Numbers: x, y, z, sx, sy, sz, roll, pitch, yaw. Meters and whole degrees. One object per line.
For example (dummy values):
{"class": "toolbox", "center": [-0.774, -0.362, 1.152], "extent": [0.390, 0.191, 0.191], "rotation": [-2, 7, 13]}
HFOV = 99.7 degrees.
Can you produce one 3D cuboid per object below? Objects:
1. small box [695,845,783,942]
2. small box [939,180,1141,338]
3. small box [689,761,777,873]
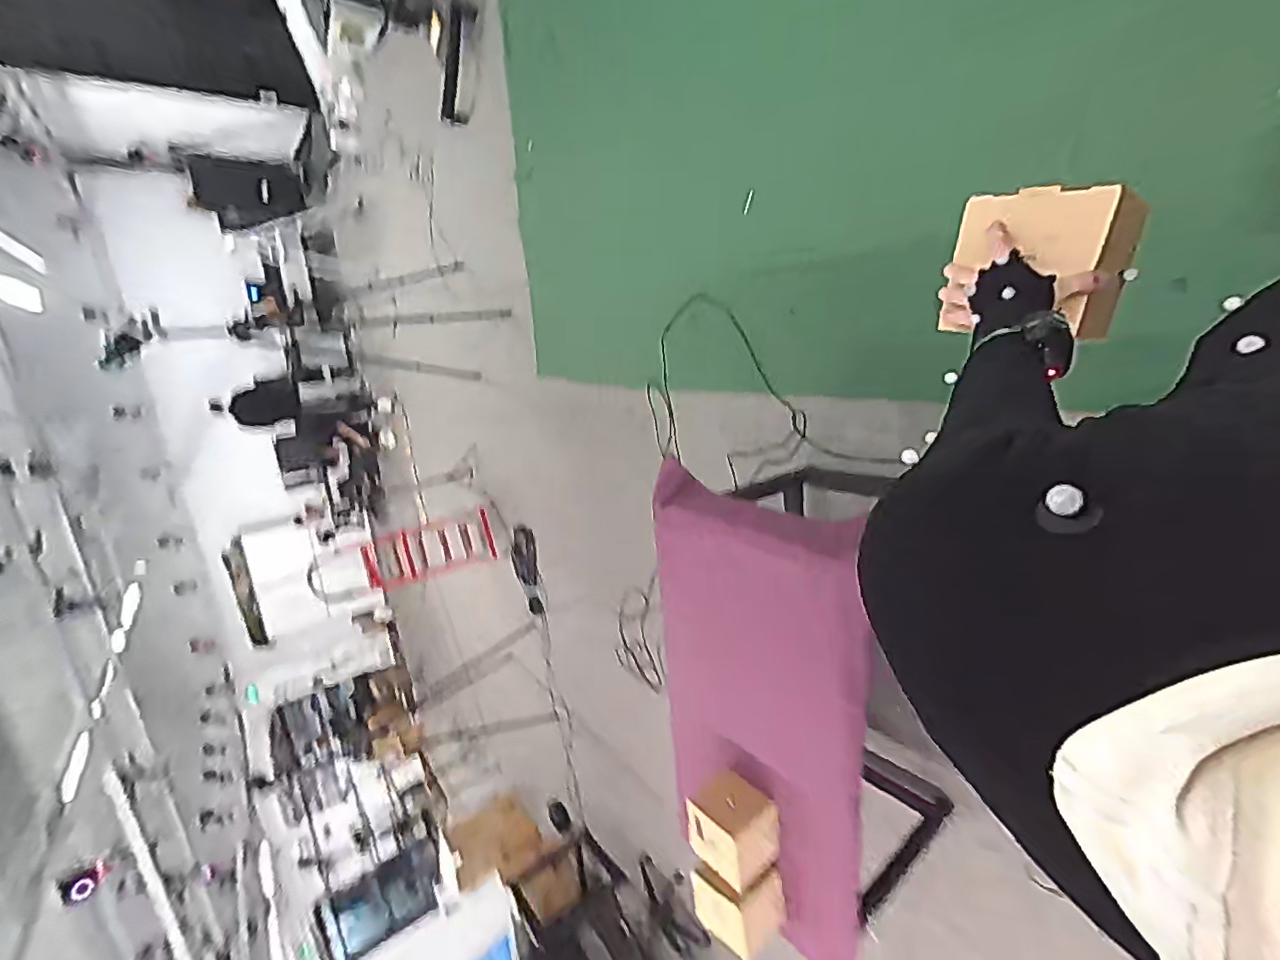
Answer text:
{"class": "small box", "center": [0.284, 1.140, 1.549], "extent": [0.179, 0.176, 0.168], "rotation": [6, 108, 52]}
{"class": "small box", "center": [0.551, -0.295, 0.747], "extent": [0.168, 0.176, 0.179], "rotation": [25, 118, 46]}
{"class": "small box", "center": [0.258, 0.919, 1.499], "extent": [0.179, 0.176, 0.168], "rotation": [13, 113, 51]}
